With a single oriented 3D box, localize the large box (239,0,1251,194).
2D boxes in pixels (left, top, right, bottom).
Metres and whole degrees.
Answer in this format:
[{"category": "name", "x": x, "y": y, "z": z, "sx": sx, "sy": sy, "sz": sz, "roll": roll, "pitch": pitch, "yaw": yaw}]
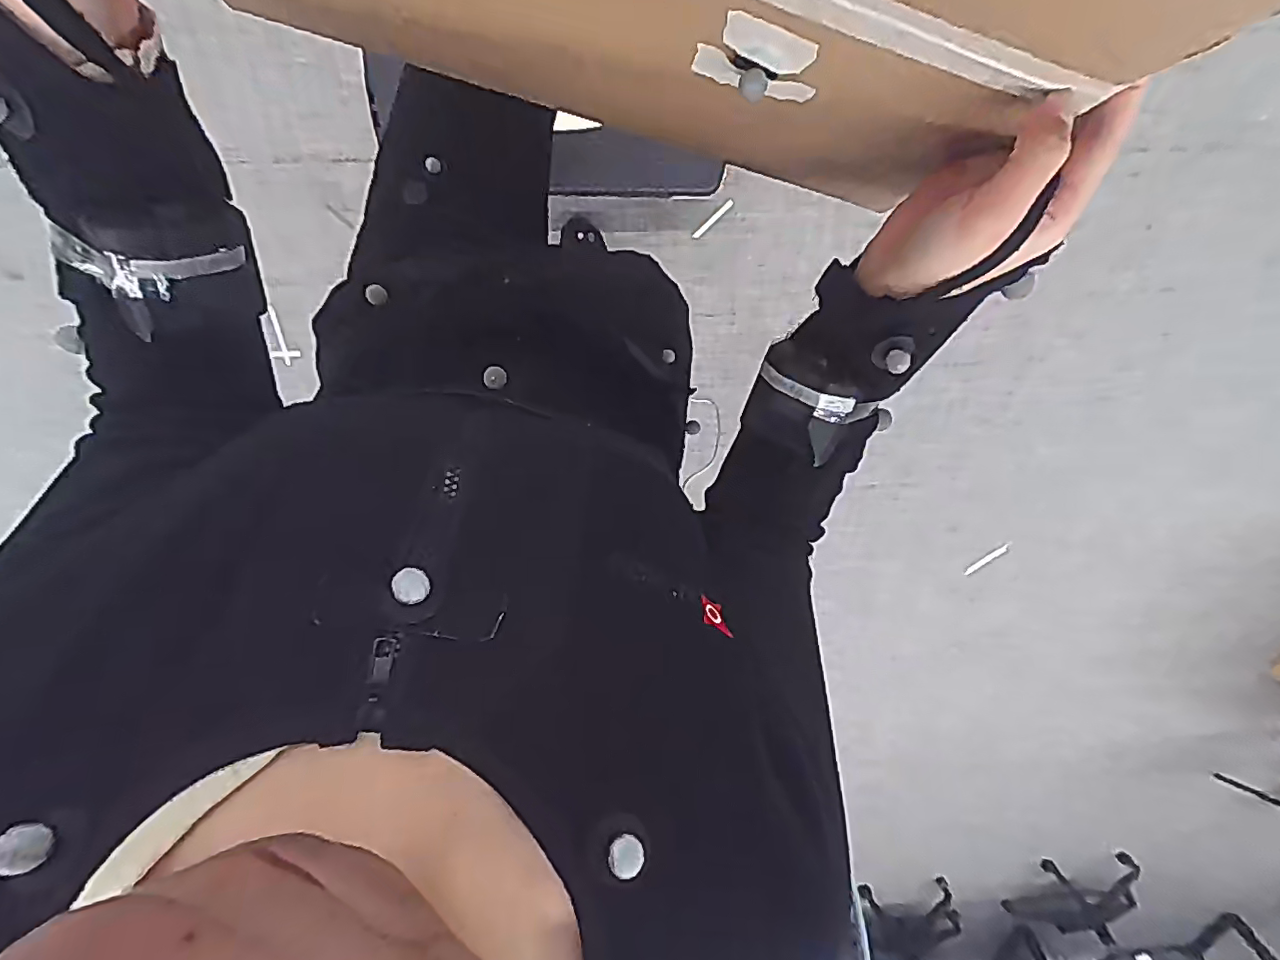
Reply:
[{"category": "large box", "x": 0.025, "y": -0.347, "z": 0.165, "sx": 0.408, "sy": 0.320, "sz": 0.320, "roll": 10, "pitch": 100, "yaw": -11}]
